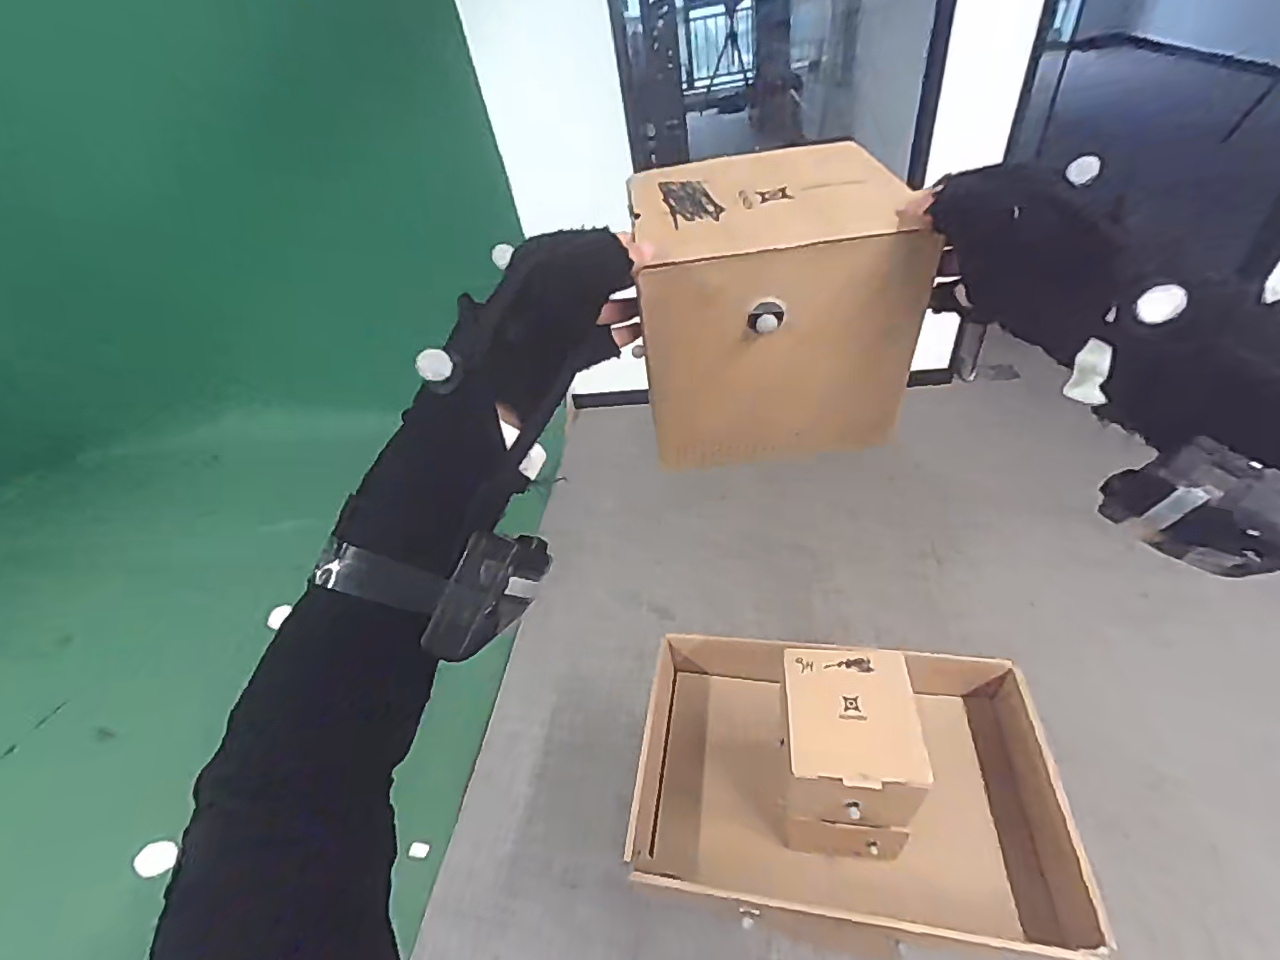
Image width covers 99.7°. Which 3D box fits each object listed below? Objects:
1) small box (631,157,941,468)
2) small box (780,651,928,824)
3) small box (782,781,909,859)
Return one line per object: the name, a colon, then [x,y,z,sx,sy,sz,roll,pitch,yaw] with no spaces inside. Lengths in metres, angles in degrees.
small box: [0.091,-0.124,0.417,0.179,0.176,0.168,-6,45,3]
small box: [0.290,0.368,0.772,0.168,0.176,0.179,0,44,11]
small box: [0.320,0.489,0.878,0.168,0.176,0.179,0,42,11]
